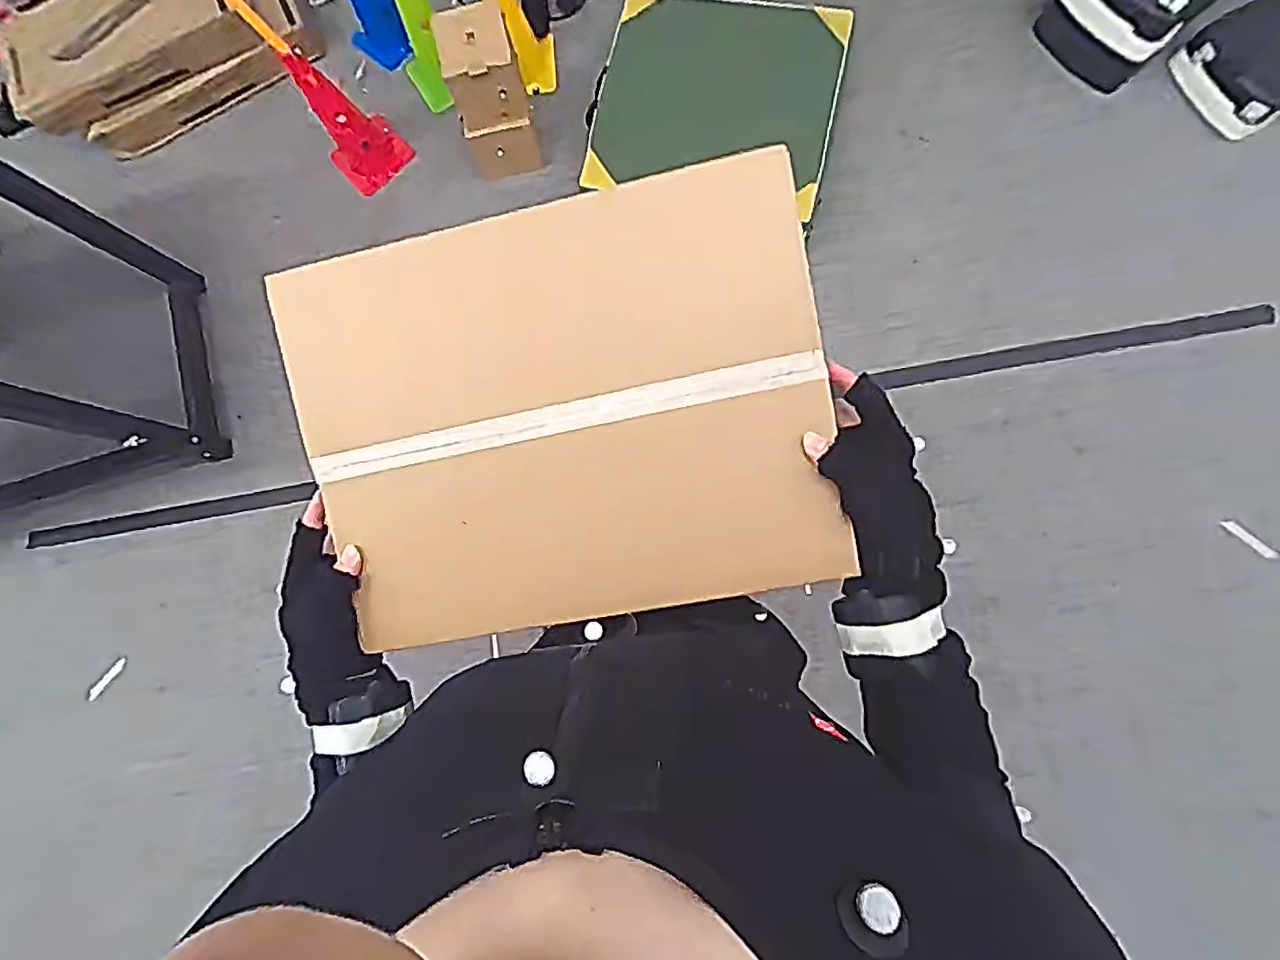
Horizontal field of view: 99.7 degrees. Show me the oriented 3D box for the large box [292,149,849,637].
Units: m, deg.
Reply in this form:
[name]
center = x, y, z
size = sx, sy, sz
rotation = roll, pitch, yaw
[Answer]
[large box]
center = -0.047, -0.067, 0.570
size = 0.408, 0.320, 0.320
rotation = -10, 96, 7
